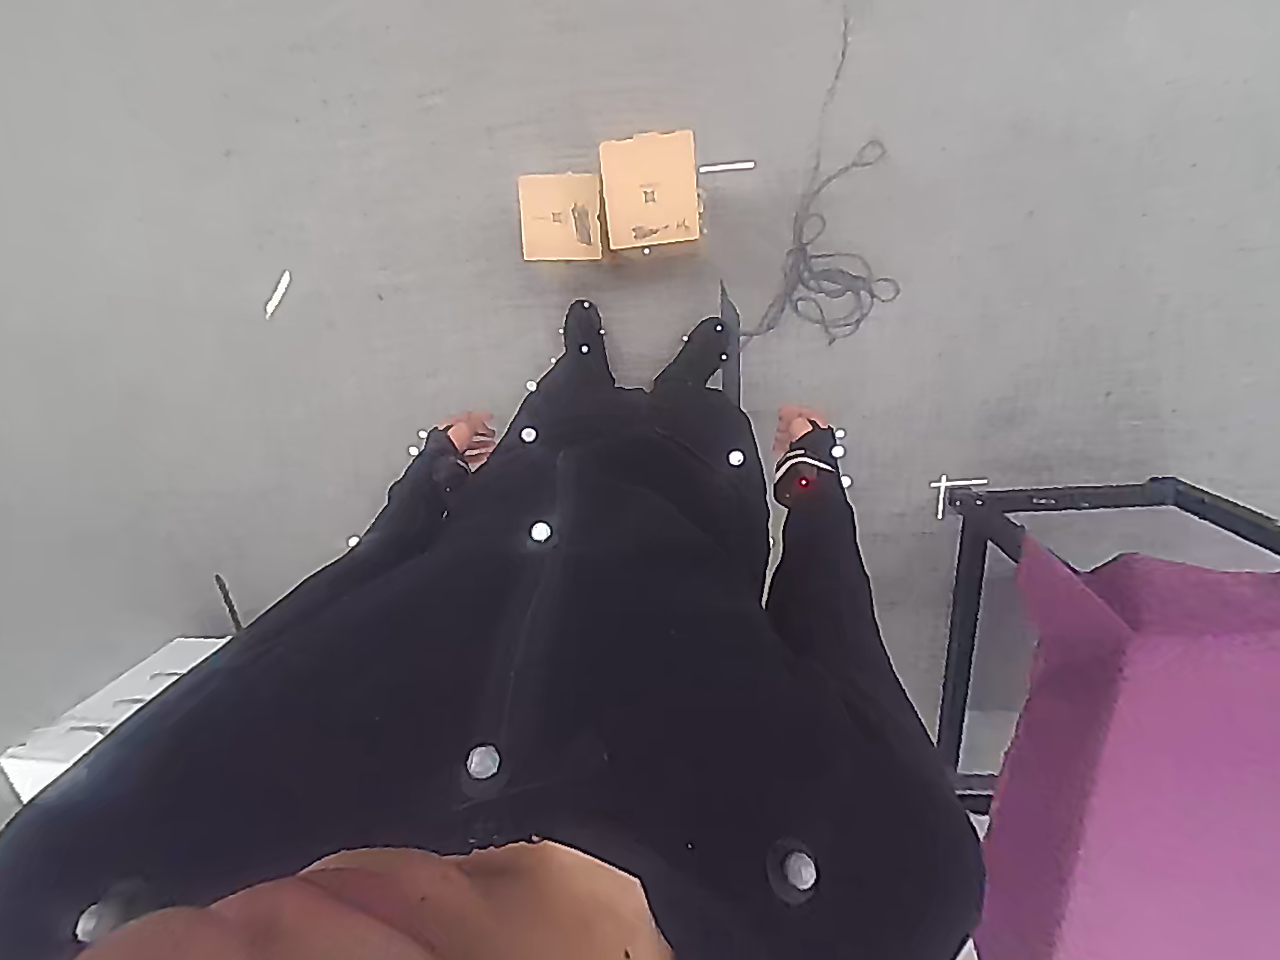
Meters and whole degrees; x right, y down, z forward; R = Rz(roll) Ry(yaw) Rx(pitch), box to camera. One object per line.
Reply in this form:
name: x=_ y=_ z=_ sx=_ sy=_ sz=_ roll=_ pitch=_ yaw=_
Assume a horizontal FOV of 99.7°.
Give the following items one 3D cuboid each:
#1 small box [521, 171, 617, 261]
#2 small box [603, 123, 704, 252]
small box: x=-0.147 y=-0.579 z=1.198 sx=0.179 sy=0.176 sz=0.168 roll=3 pitch=110 yaw=8
small box: x=0.033 y=-0.535 z=1.012 sx=0.168 sy=0.176 sz=0.179 roll=-3 pitch=109 yaw=9
